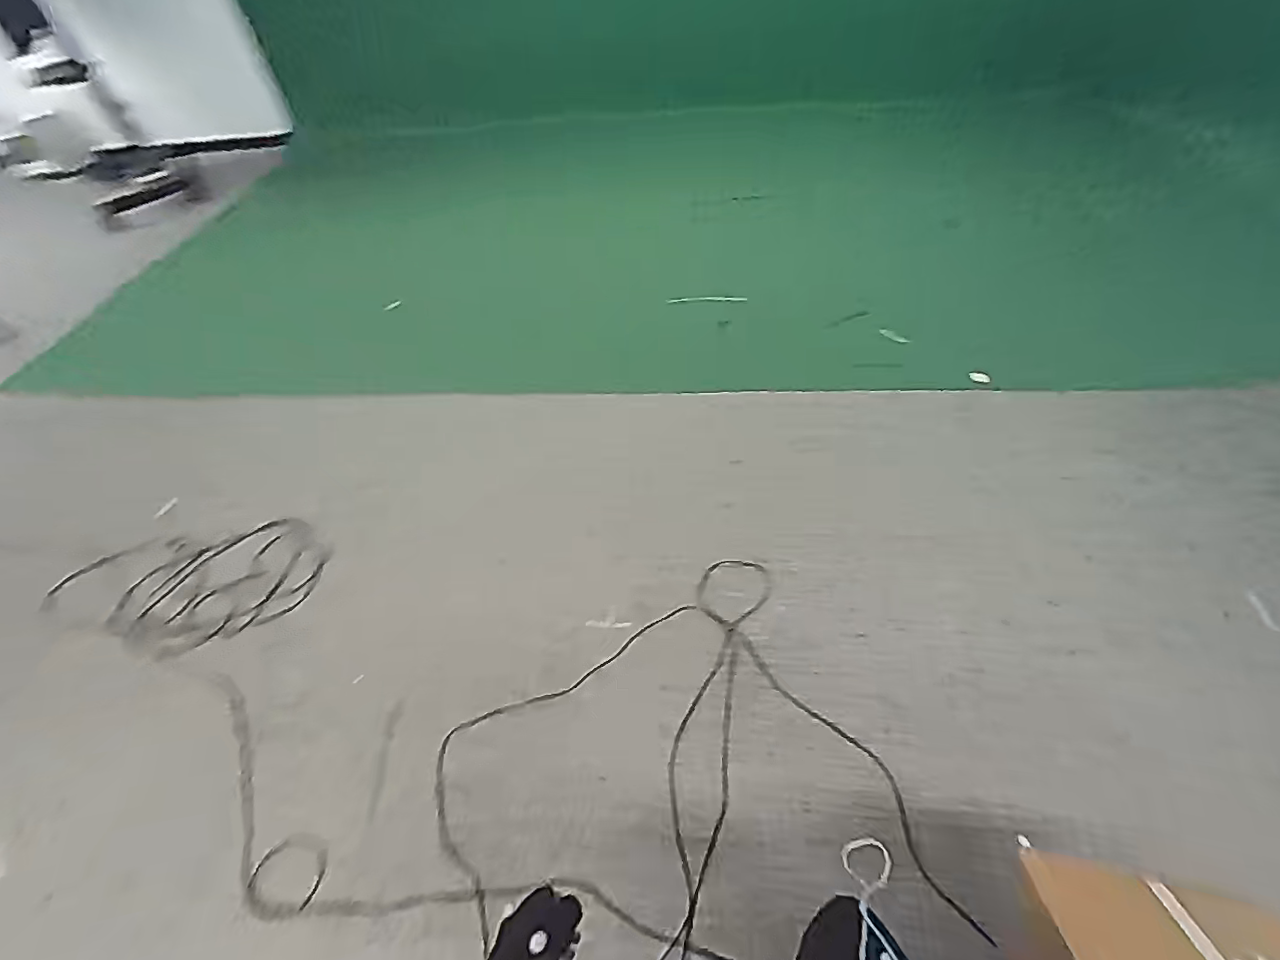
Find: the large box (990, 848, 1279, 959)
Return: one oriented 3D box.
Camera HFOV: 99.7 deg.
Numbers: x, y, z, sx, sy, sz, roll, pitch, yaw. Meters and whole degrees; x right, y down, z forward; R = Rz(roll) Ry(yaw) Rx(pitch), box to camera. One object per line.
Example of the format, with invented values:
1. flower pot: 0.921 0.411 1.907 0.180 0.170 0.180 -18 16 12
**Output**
1. large box: 0.618 0.715 0.575 0.320 0.320 0.408 7 7 15
